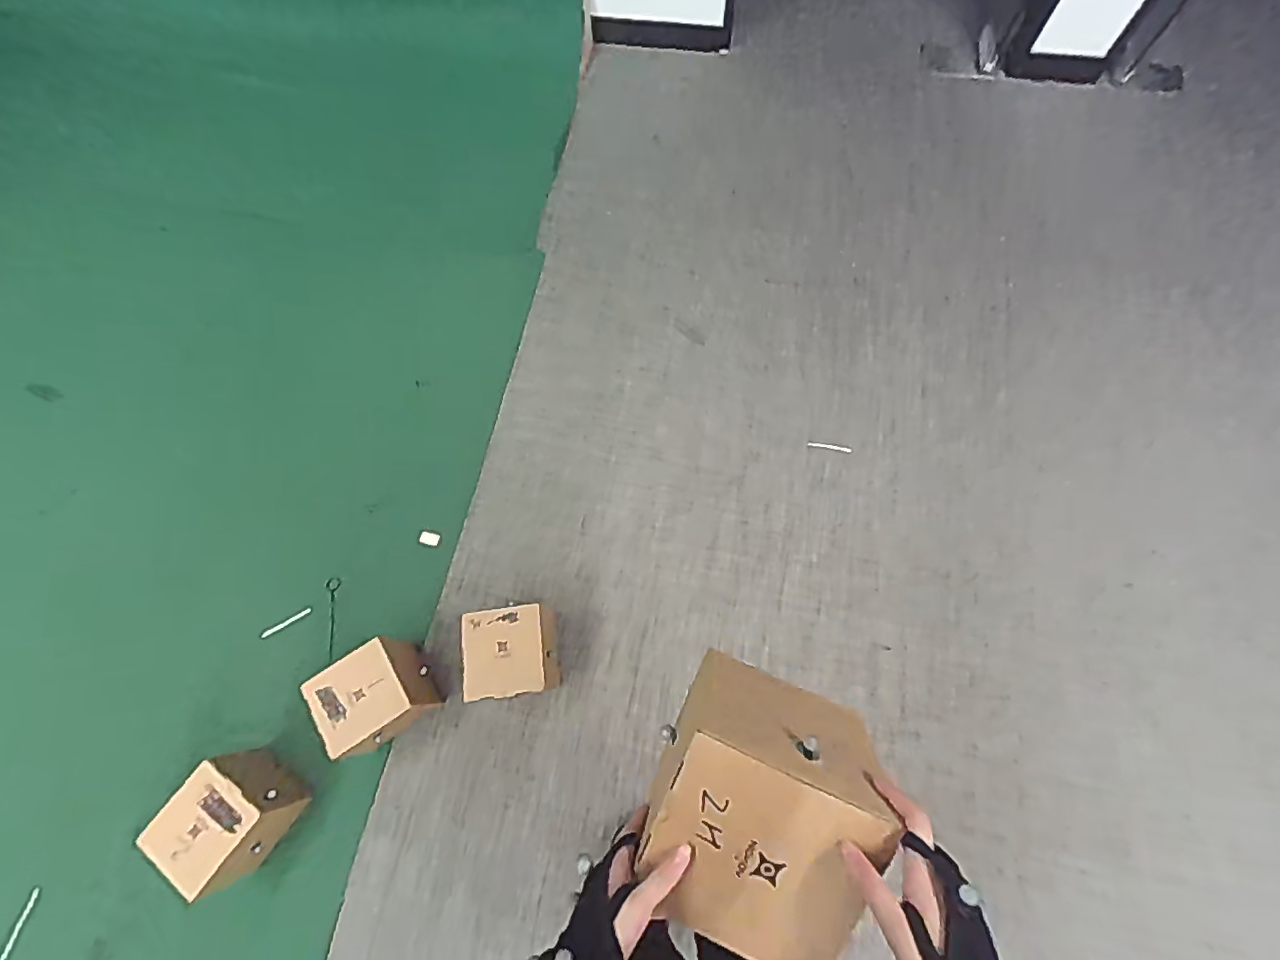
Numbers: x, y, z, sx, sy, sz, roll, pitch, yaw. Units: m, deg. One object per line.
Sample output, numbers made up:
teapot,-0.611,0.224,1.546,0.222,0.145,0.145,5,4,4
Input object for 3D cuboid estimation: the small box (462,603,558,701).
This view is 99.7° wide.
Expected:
small box,-0.277,0.371,1.175,0.168,0.176,0.179,-8,71,0

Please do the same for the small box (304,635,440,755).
small box,-0.564,0.455,1.157,0.179,0.176,0.168,-33,73,-10
